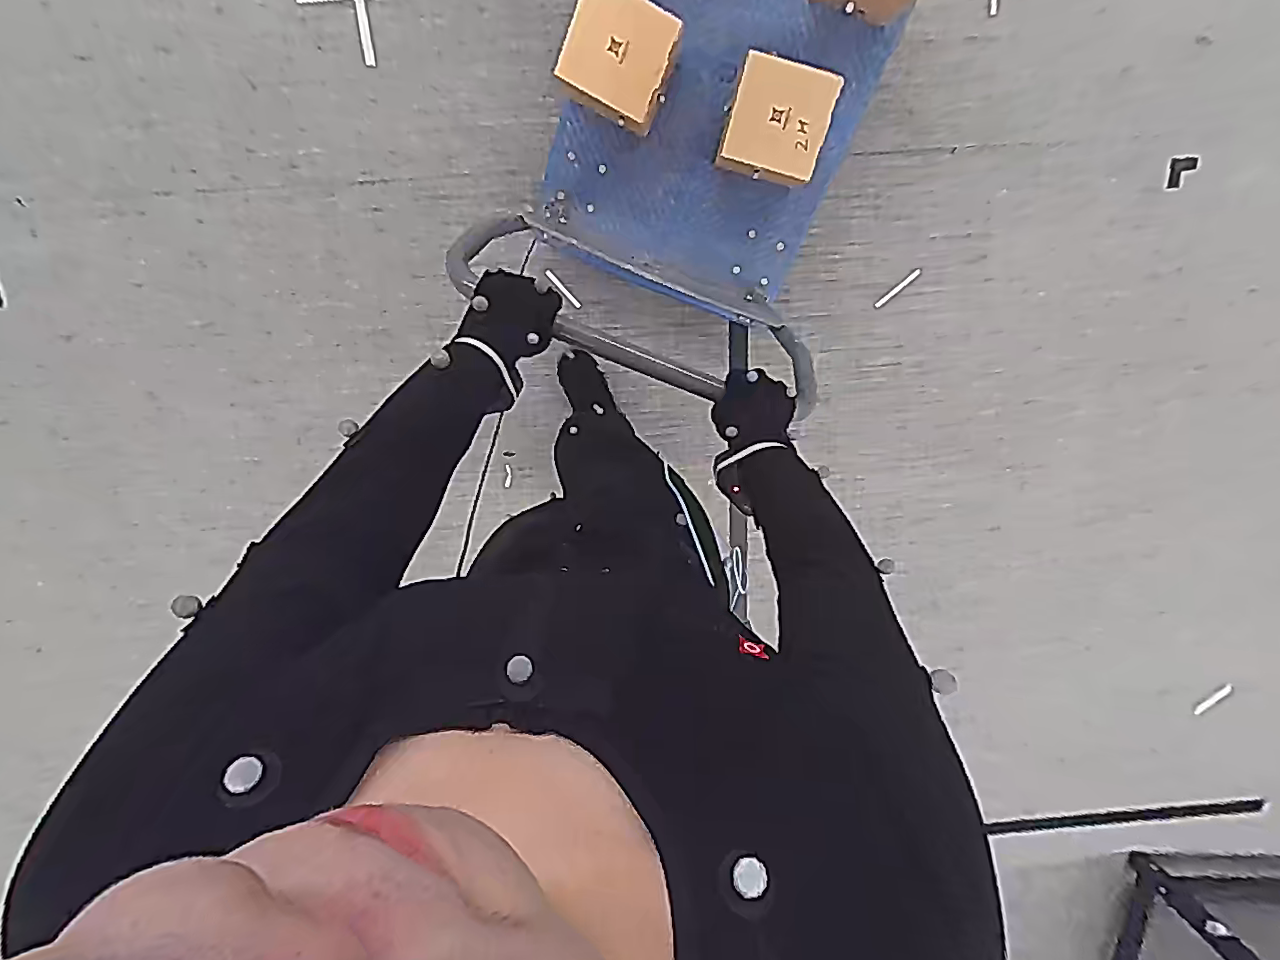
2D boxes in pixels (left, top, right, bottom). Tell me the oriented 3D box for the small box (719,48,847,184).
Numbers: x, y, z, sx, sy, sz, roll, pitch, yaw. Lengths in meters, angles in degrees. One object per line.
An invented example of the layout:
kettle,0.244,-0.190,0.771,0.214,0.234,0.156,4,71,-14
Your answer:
small box,0.258,-0.680,1.032,0.179,0.176,0.168,15,115,-4

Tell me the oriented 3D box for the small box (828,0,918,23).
small box,0.420,-0.926,0.910,0.168,0.176,0.179,18,115,-5

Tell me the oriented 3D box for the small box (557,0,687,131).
small box,-0.032,-0.780,1.001,0.179,0.176,0.168,24,113,-10
